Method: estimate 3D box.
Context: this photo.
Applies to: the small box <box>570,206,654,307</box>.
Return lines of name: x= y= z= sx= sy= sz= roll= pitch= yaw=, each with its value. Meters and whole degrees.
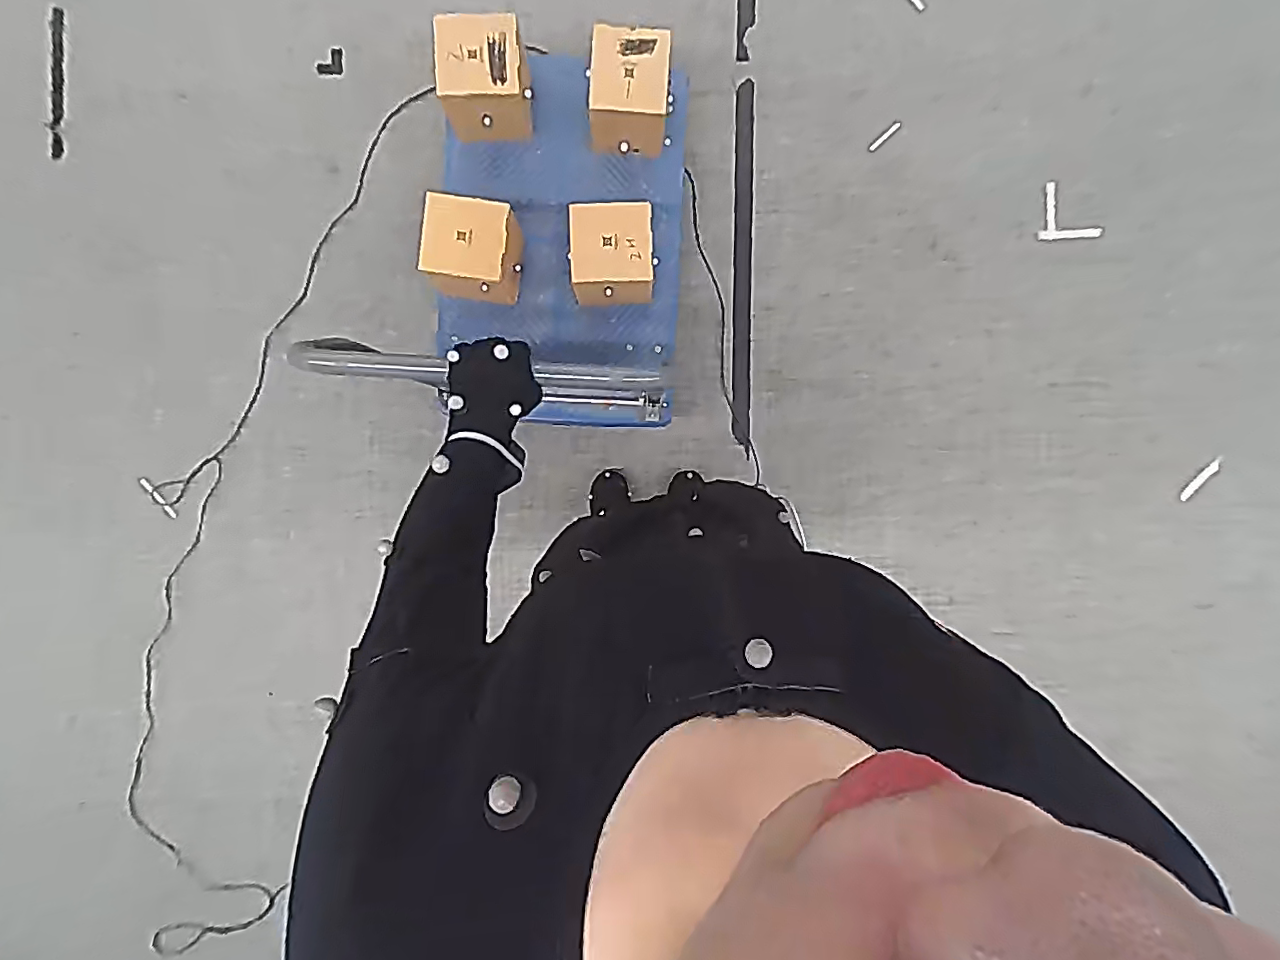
small box: x=-0.059 y=-0.497 z=1.221 sx=0.179 sy=0.176 sz=0.168 roll=-2 pitch=92 yaw=-1

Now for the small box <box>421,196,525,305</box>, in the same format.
small box: x=-0.368 y=-0.506 z=1.215 sx=0.179 sy=0.176 sz=0.168 roll=7 pitch=91 yaw=-3

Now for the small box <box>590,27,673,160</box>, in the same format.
small box: x=-0.021 y=-0.857 z=1.212 sx=0.168 sy=0.176 sz=0.179 roll=3 pitch=93 yaw=-1
